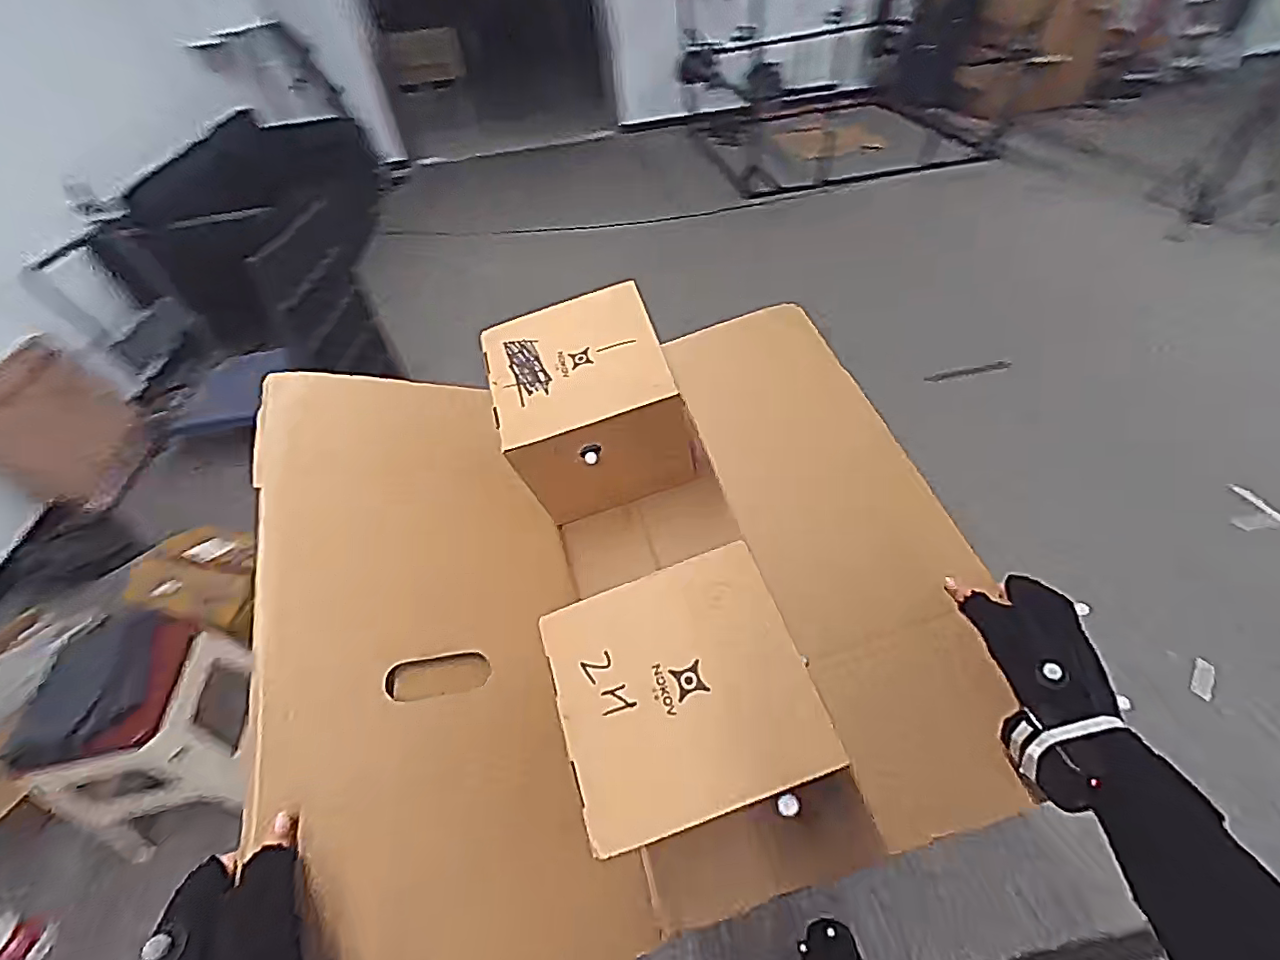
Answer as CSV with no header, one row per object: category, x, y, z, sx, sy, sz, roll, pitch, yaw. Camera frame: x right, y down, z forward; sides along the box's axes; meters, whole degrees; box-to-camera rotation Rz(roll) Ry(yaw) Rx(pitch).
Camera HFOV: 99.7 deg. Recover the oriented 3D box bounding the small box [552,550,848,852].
small box,0.047,0.185,0.460,0.179,0.176,0.168,-21,59,2
